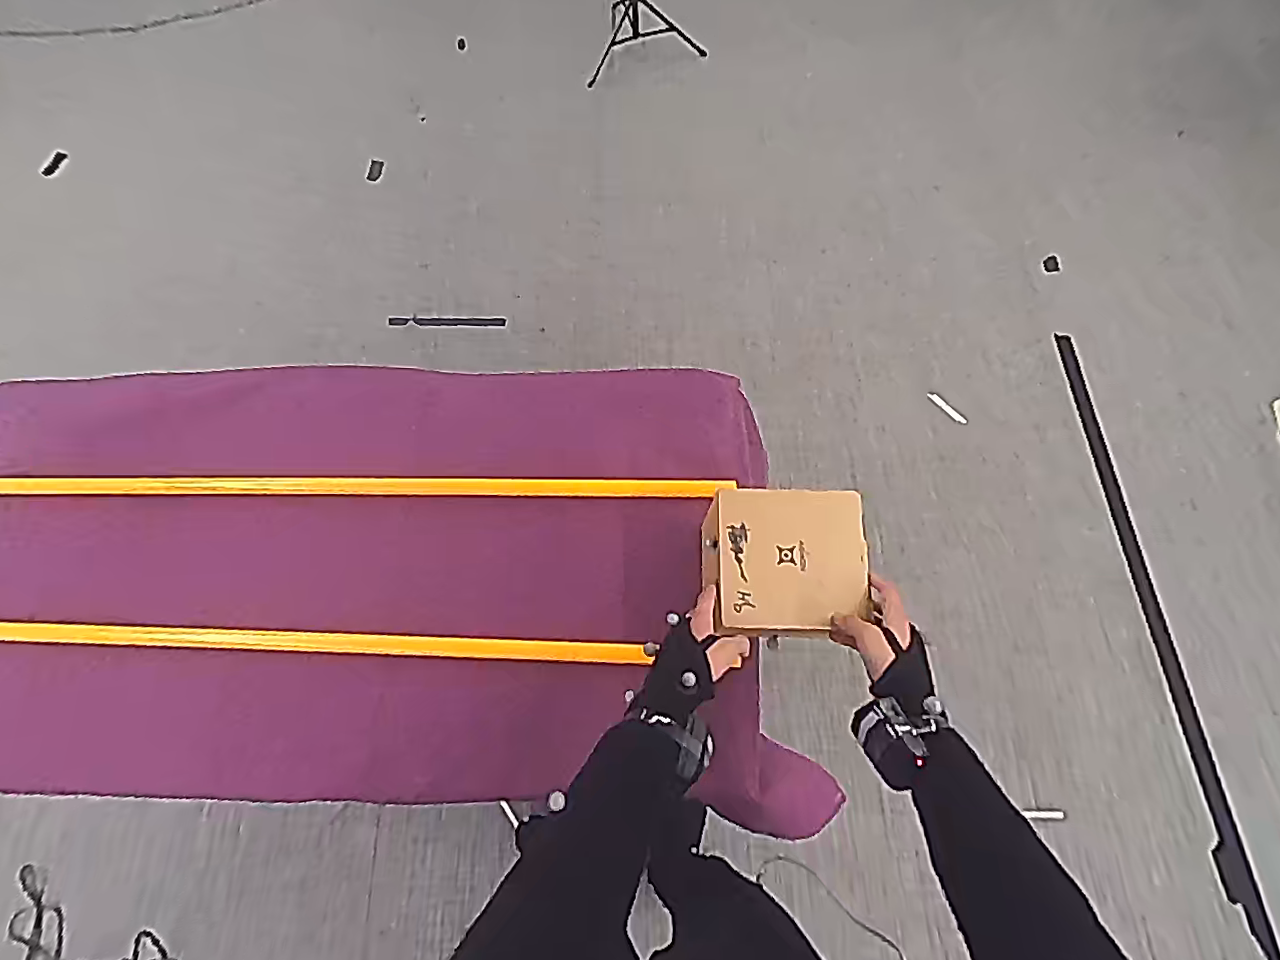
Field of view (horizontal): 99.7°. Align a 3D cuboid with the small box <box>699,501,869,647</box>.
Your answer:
[{"bbox_3d":[0.176,0.131,0.714,0.179,0.176,0.168,2,71,0],"label":"small box"}]
